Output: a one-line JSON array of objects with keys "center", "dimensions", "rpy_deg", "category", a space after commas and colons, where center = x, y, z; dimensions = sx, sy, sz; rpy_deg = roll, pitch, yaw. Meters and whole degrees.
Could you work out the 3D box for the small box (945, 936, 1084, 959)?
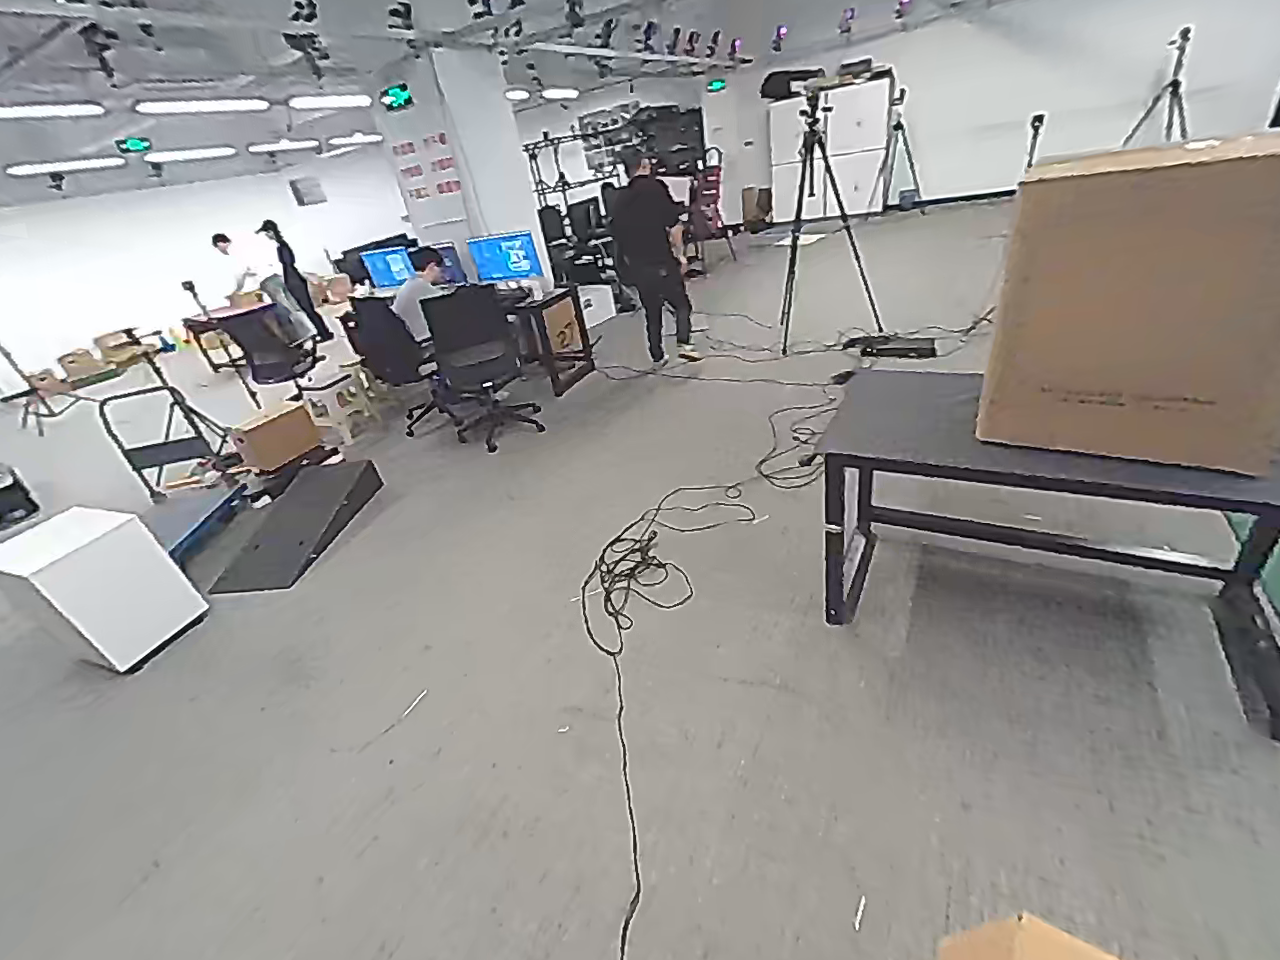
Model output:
[{"center": [0.250, 0.379, 0.273], "dimensions": [0.168, 0.176, 0.179], "rpy_deg": [17, 54, 24], "category": "small box"}]
